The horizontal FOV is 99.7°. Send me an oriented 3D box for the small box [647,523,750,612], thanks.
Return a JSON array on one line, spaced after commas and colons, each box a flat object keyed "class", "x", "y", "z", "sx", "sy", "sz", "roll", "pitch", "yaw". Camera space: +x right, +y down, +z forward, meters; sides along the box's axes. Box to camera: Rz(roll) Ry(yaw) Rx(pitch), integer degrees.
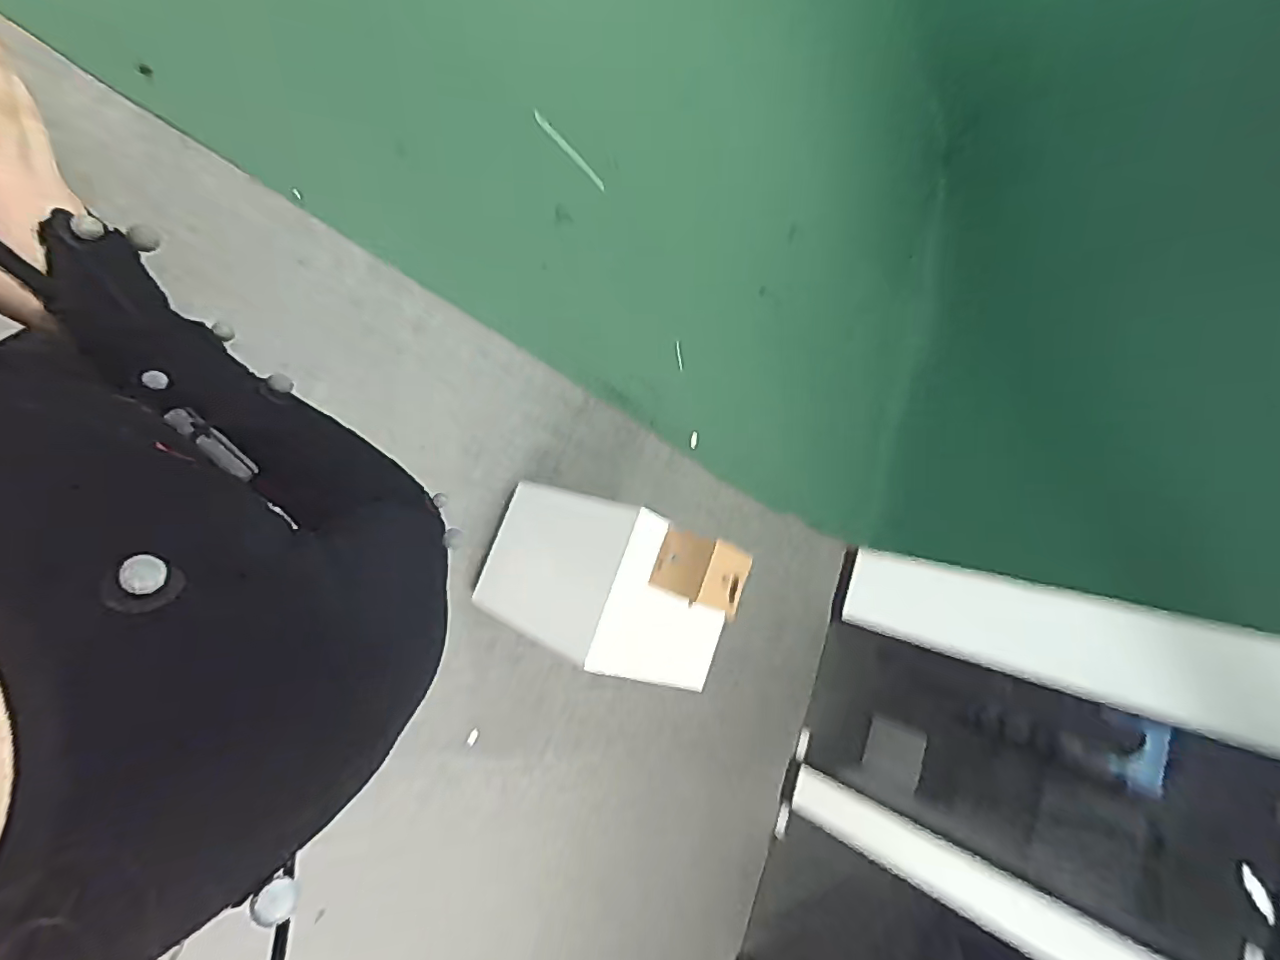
[{"class": "small box", "x": 0.150, "y": 0.222, "z": 1.395, "sx": 0.179, "sy": 0.176, "sz": 0.168, "roll": 30, "pitch": 78, "yaw": -43}]
